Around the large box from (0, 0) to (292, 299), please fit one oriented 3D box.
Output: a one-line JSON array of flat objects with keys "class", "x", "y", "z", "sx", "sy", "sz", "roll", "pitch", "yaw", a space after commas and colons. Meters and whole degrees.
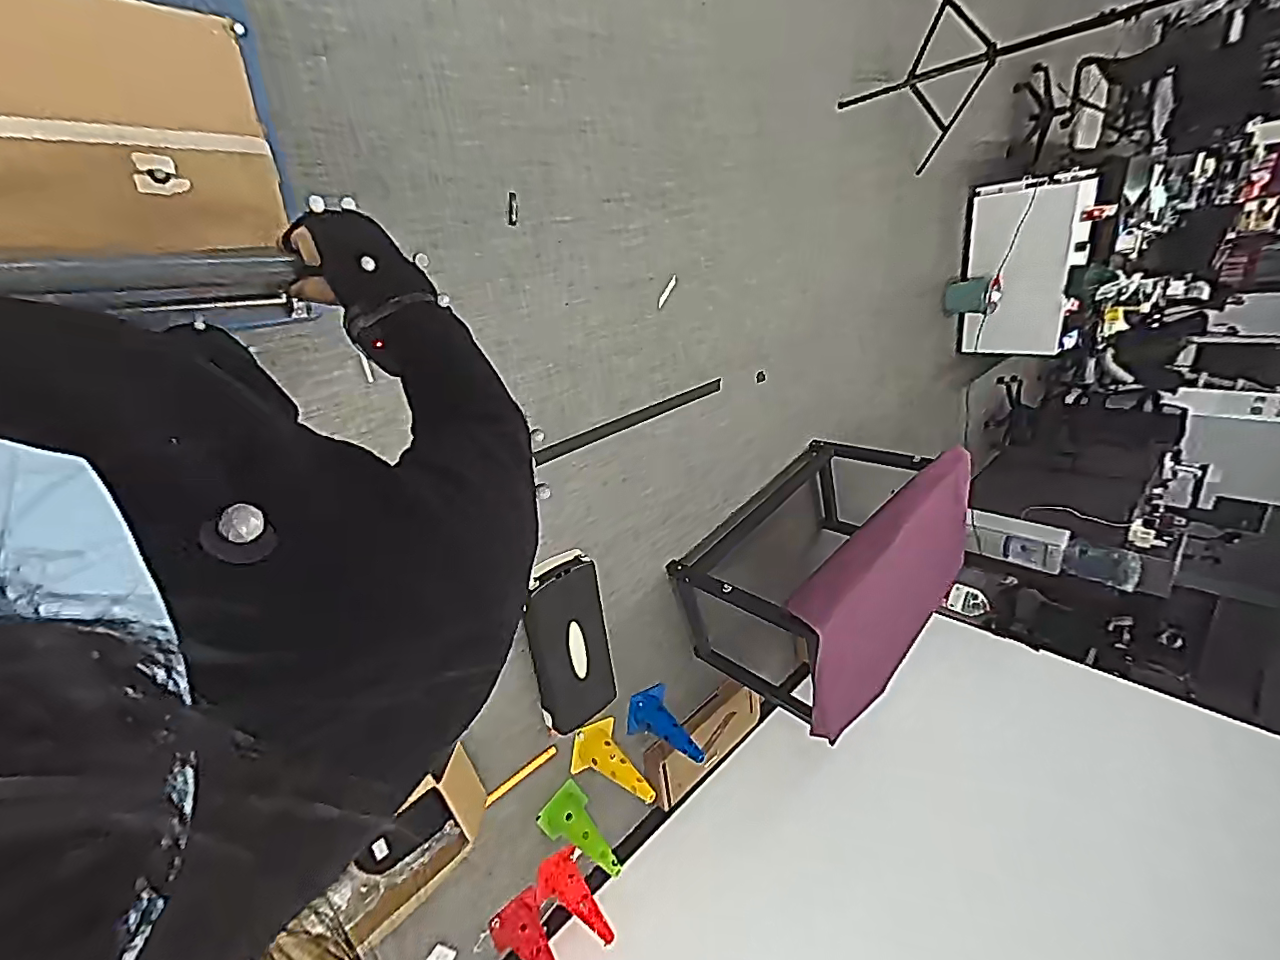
[{"class": "large box", "x": -0.797, "y": -0.444, "z": 0.772, "sx": 0.408, "sy": 0.320, "sz": 0.320, "roll": -21, "pitch": 115, "yaw": -38}]
